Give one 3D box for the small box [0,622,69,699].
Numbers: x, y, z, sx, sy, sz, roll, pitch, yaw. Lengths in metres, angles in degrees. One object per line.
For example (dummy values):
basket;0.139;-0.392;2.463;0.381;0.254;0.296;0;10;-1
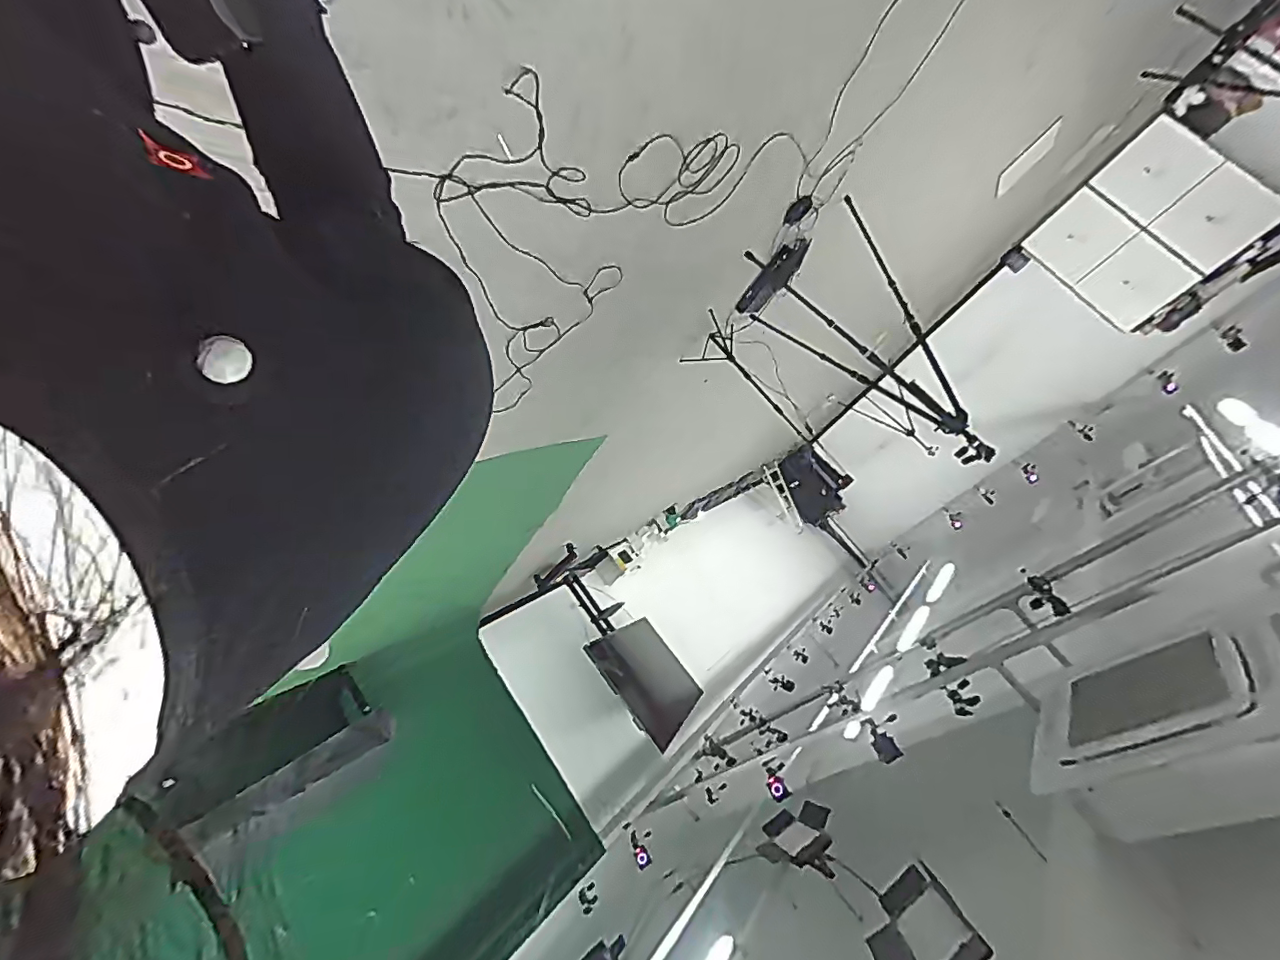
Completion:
small box;-2.219;0.646;1.945;0.179;0.176;0.168;-23;159;-46
